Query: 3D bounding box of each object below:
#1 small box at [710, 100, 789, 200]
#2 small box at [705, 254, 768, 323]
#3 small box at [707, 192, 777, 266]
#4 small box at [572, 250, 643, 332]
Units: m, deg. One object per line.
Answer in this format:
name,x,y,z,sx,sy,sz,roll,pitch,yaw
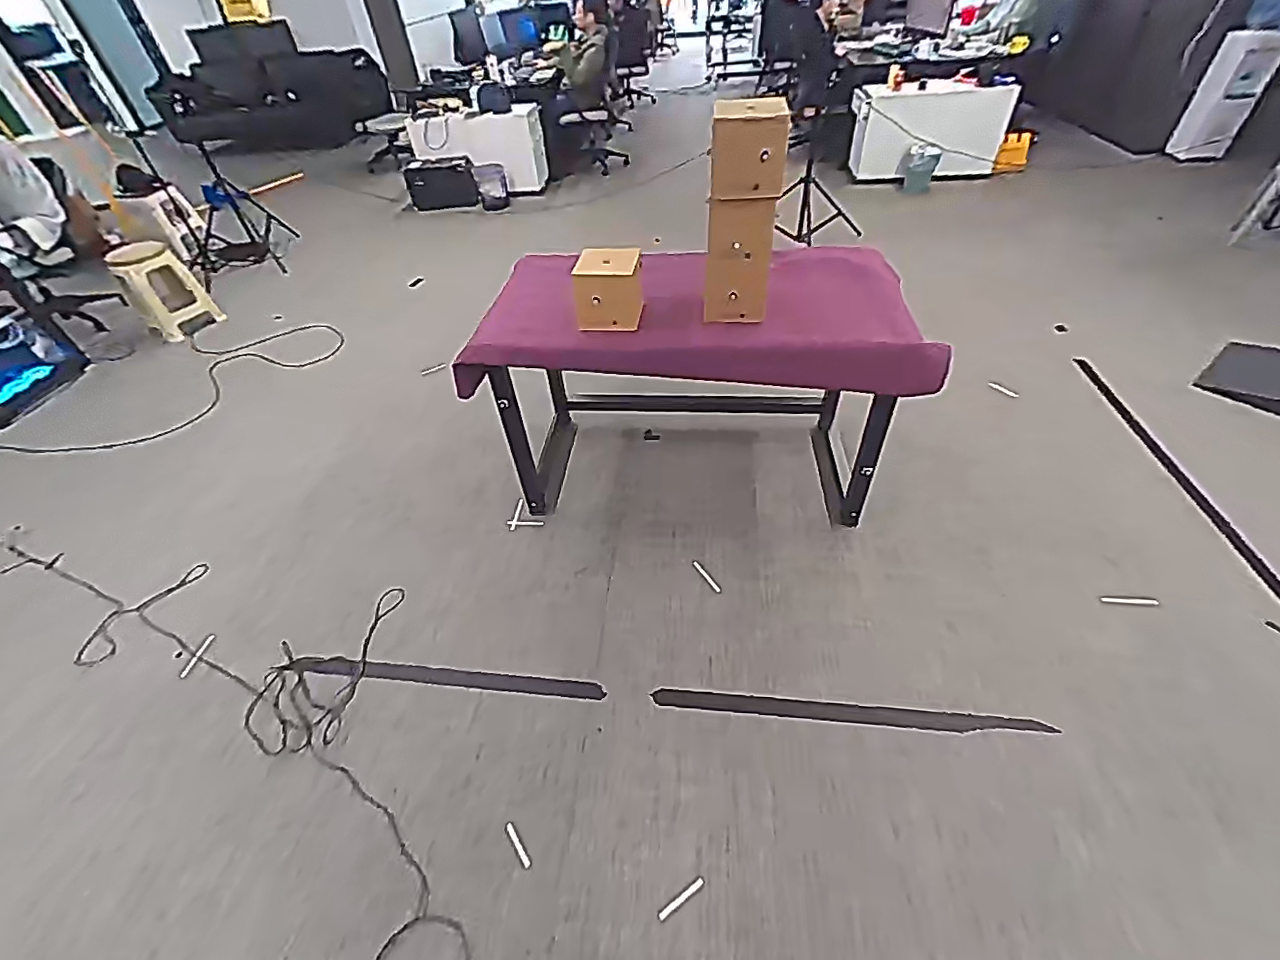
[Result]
small box,0.252,-0.774,1.274,0.168,0.176,0.179,2,44,6
small box,0.270,-0.555,1.517,0.168,0.176,0.179,4,45,9
small box,0.263,-0.674,1.404,0.168,0.176,0.179,3,46,9
small box,-0.085,-0.531,1.526,0.168,0.176,0.179,3,44,7
